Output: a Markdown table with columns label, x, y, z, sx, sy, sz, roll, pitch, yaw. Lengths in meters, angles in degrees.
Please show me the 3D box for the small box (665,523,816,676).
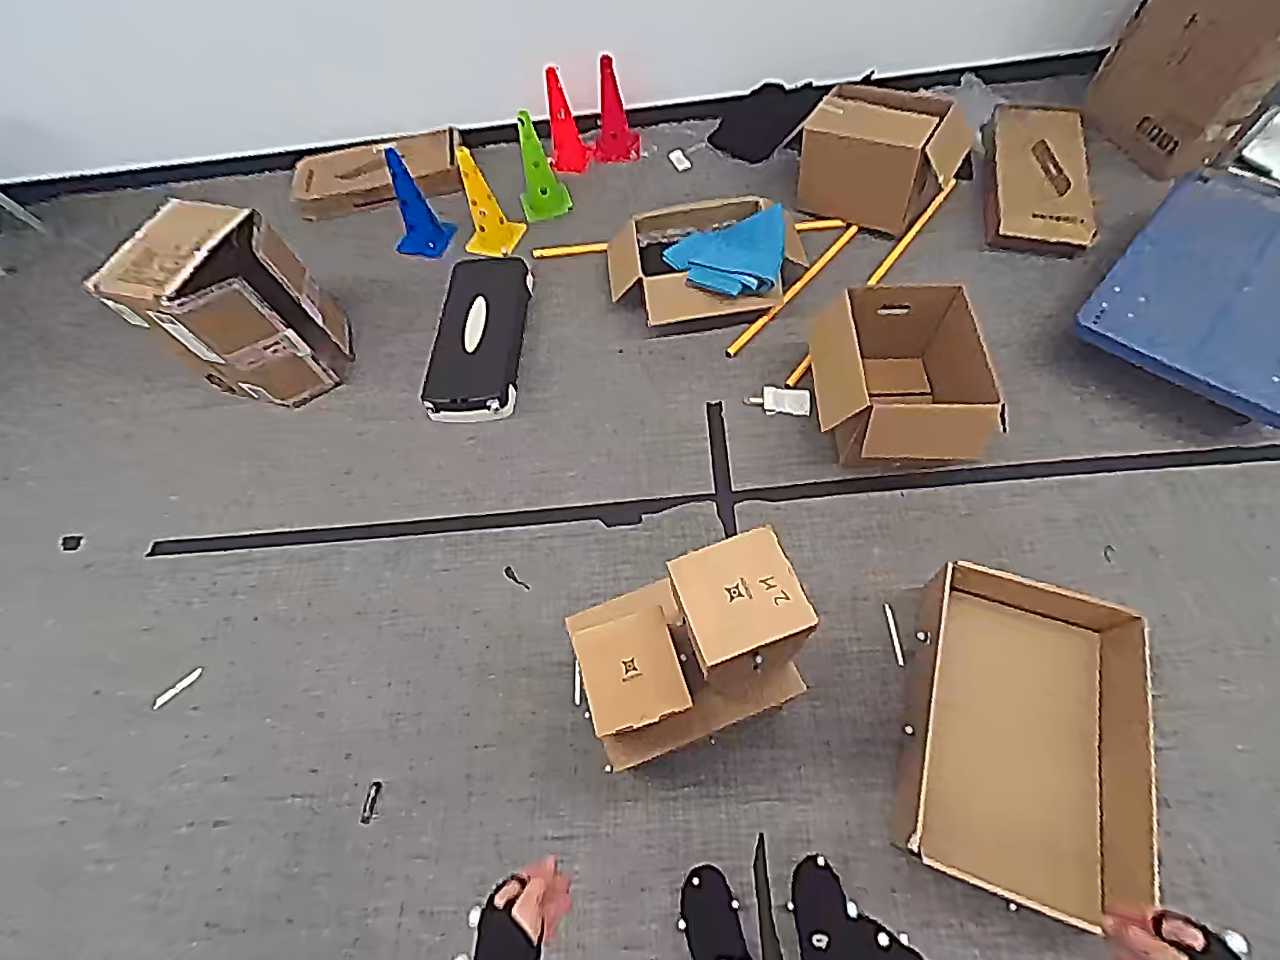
| label | x | y | z | sx | sy | sz | roll | pitch | yaw |
| --- | --- | --- | --- | --- | --- | --- | --- | --- | --- |
| small box | 0.153 | 0.197 | 0.861 | 0.179 | 0.176 | 0.168 | -19 | 63 | -4 |
